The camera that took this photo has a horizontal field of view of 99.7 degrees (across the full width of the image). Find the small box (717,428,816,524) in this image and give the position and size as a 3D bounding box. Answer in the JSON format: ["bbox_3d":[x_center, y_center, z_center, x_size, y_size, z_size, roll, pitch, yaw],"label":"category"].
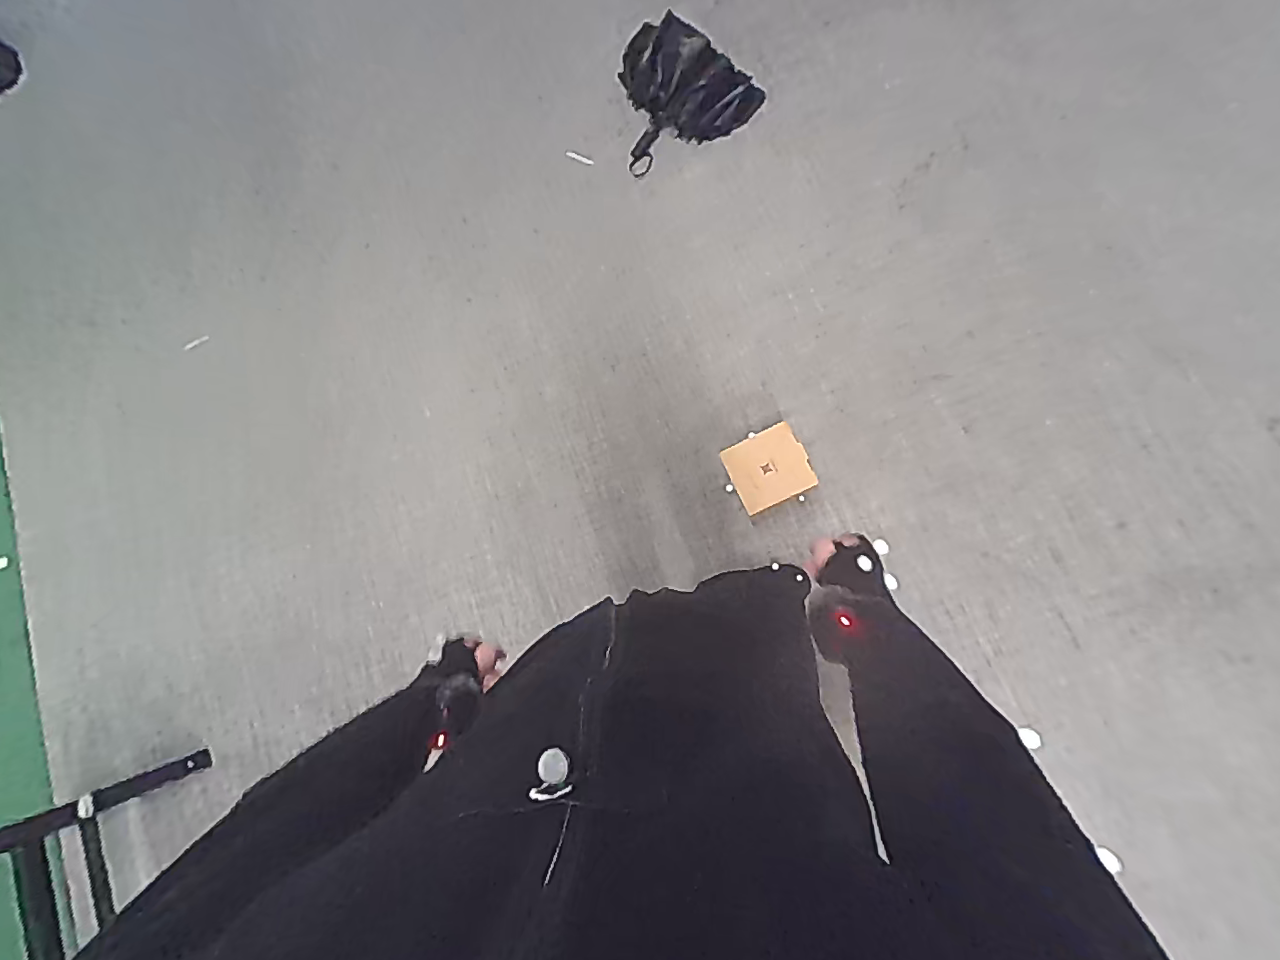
[{"bbox_3d":[0.303,-0.003,1.314,0.179,0.176,0.168,-27,78,8],"label":"small box"}]
